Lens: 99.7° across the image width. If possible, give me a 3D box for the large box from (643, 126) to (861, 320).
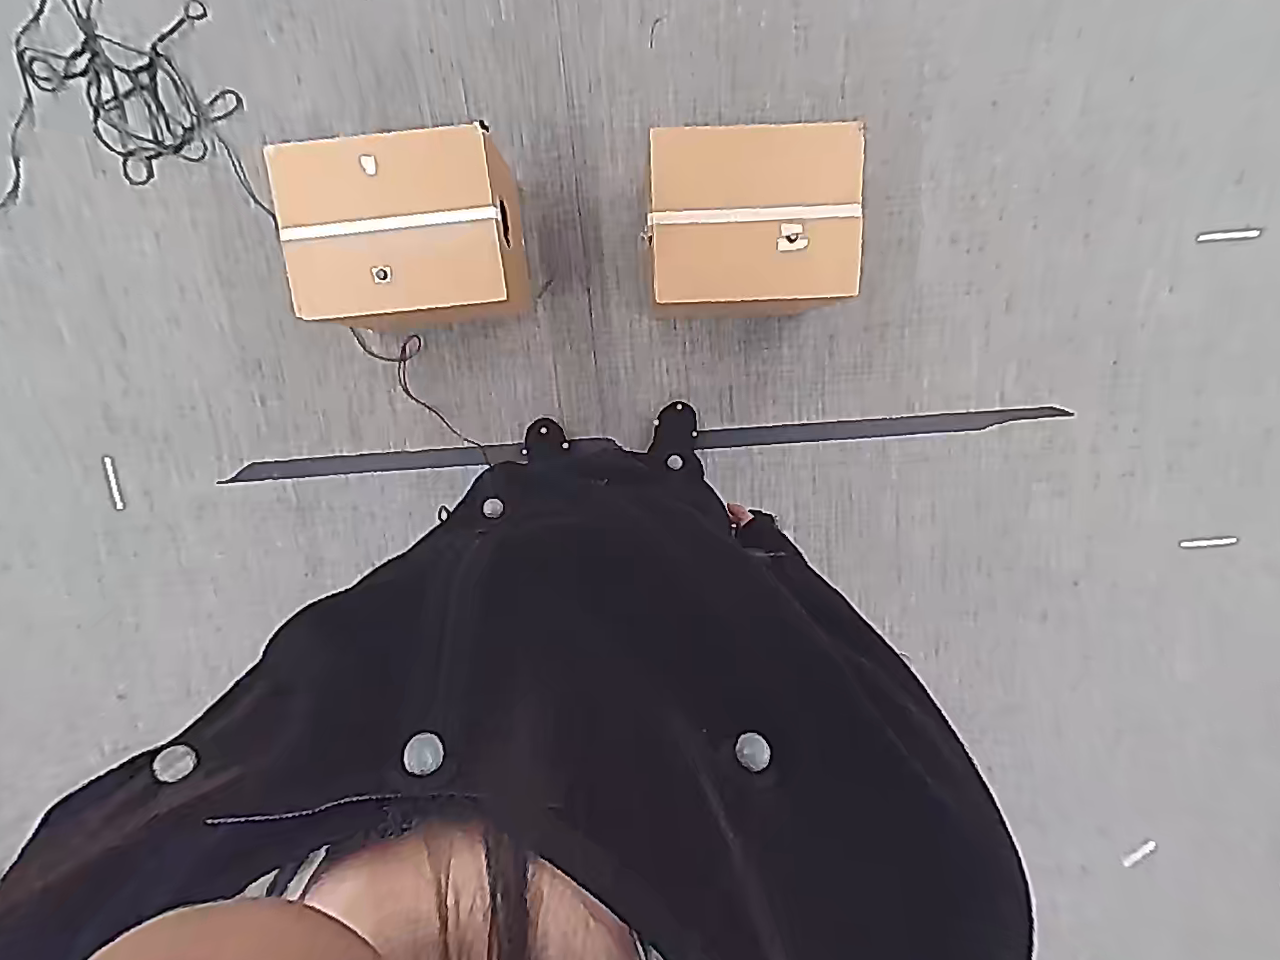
[{"bbox_3d":[0.219,-0.535,1.187,0.408,0.320,0.320,-2,101,-2],"label":"large box"}]
